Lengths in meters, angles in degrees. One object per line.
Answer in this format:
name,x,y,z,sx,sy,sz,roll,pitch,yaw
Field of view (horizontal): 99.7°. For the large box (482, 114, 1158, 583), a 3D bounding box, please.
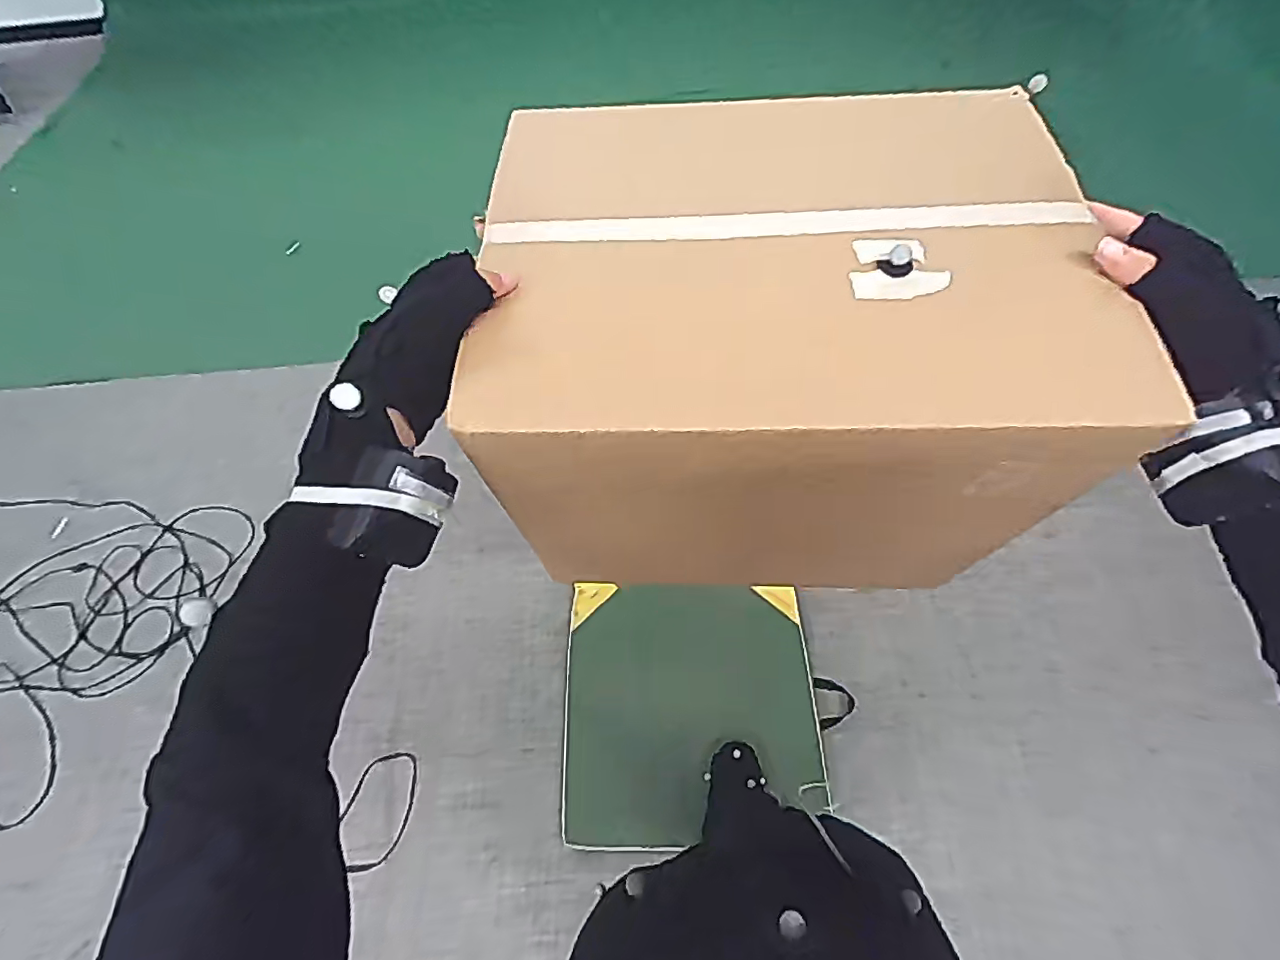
large box,0.106,-0.096,0.516,0.408,0.320,0.320,0,63,3
